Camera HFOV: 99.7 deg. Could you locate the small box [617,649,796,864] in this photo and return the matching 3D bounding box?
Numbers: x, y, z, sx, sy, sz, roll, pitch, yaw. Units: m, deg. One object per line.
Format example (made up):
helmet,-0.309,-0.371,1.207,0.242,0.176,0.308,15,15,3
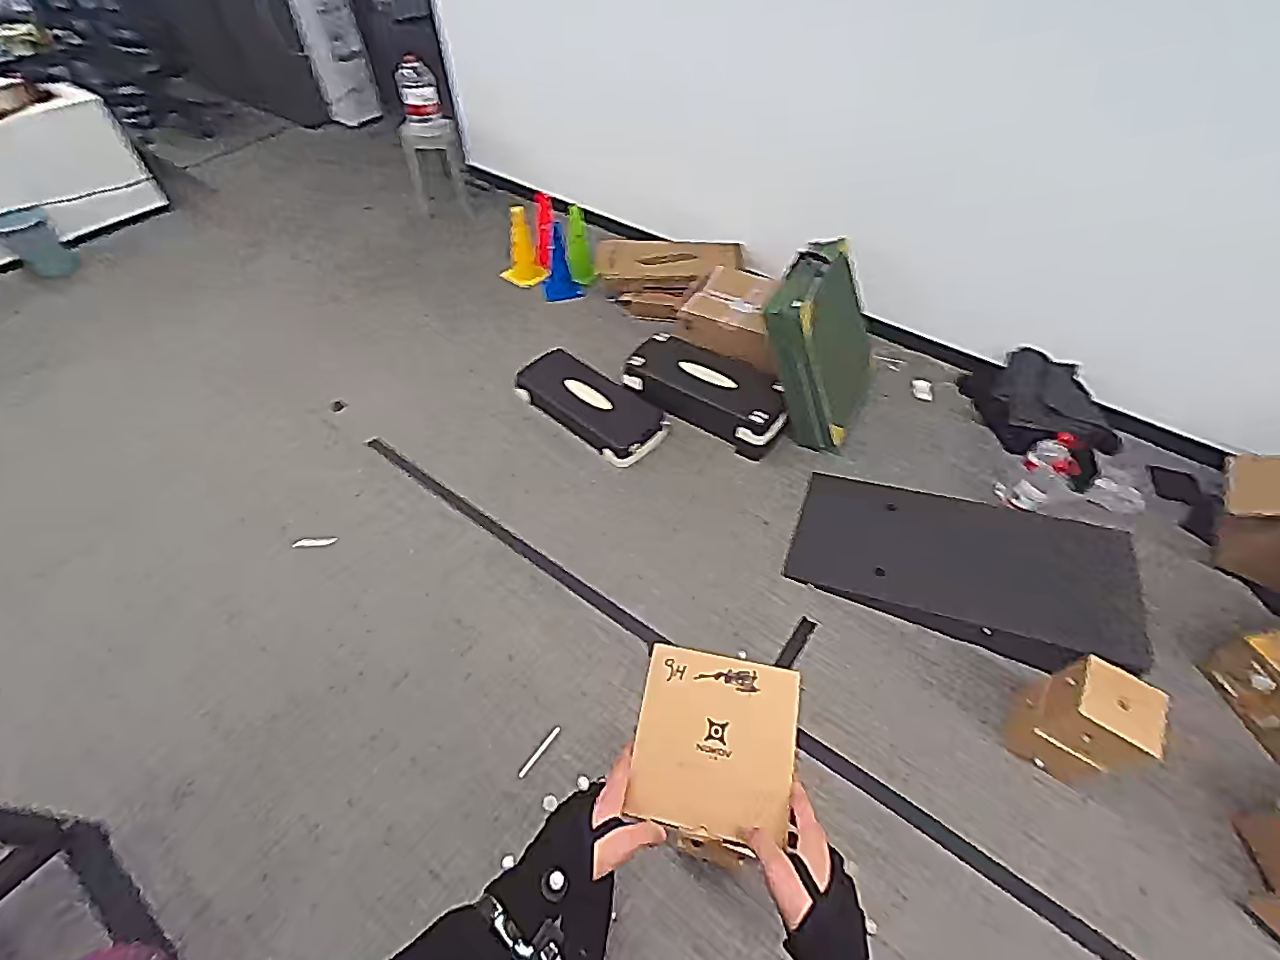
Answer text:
small box,0.082,0.319,0.639,0.168,0.176,0.179,9,62,10
